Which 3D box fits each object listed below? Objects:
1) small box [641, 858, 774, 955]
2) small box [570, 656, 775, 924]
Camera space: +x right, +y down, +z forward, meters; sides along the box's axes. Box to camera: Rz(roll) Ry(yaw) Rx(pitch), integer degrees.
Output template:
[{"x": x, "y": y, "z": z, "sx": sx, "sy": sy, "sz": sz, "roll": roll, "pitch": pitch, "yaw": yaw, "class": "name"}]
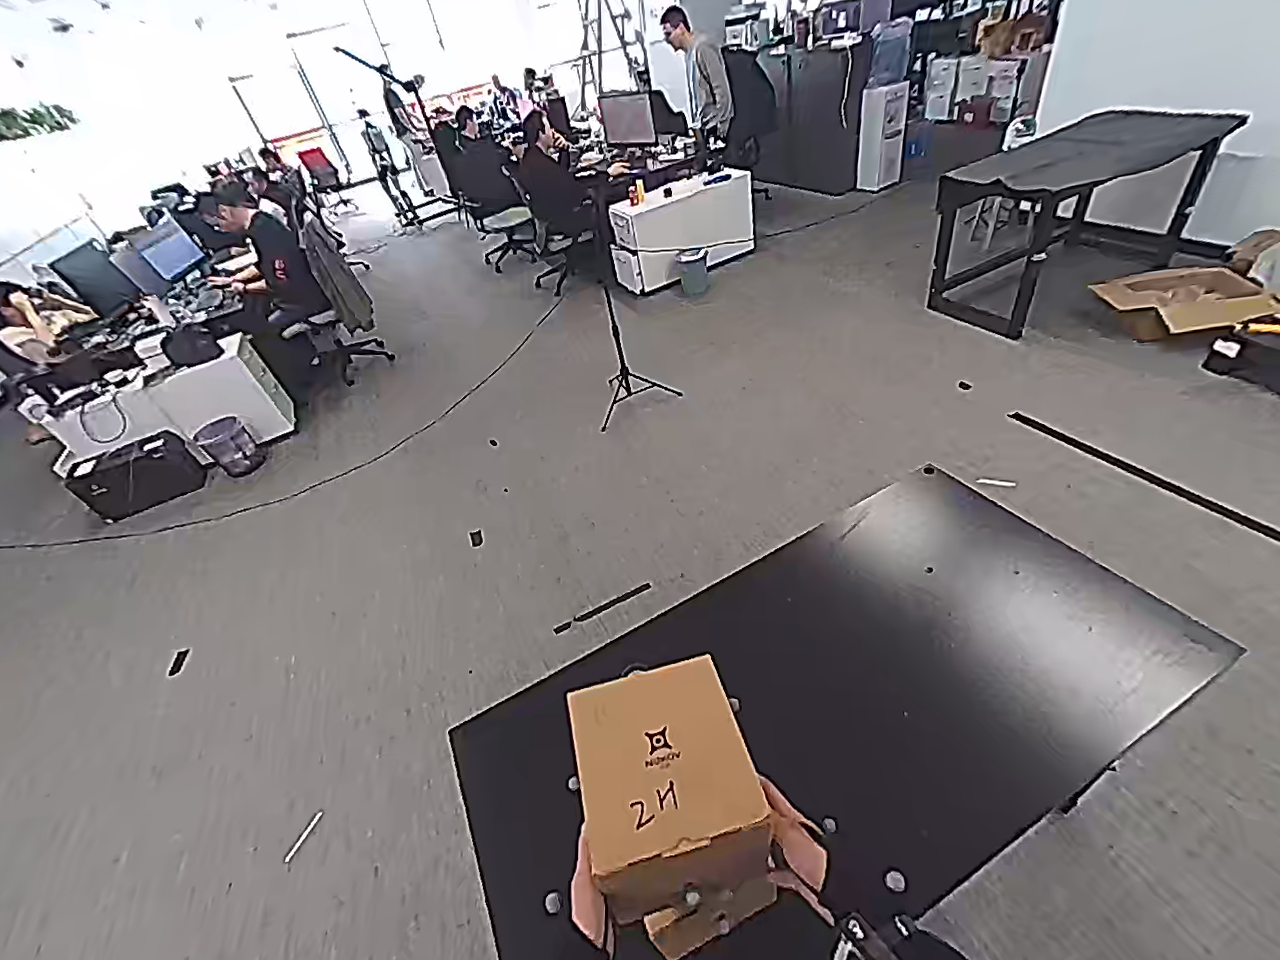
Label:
[{"x": 0.067, "y": 0.495, "z": 0.727, "sx": 0.168, "sy": 0.176, "sz": 0.179, "roll": -23, "pitch": 41, "yaw": -10, "class": "small box"}, {"x": 0.028, "y": 0.324, "z": 0.573, "sx": 0.168, "sy": 0.176, "sz": 0.179, "roll": -13, "pitch": 39, "yaw": -6, "class": "small box"}]
